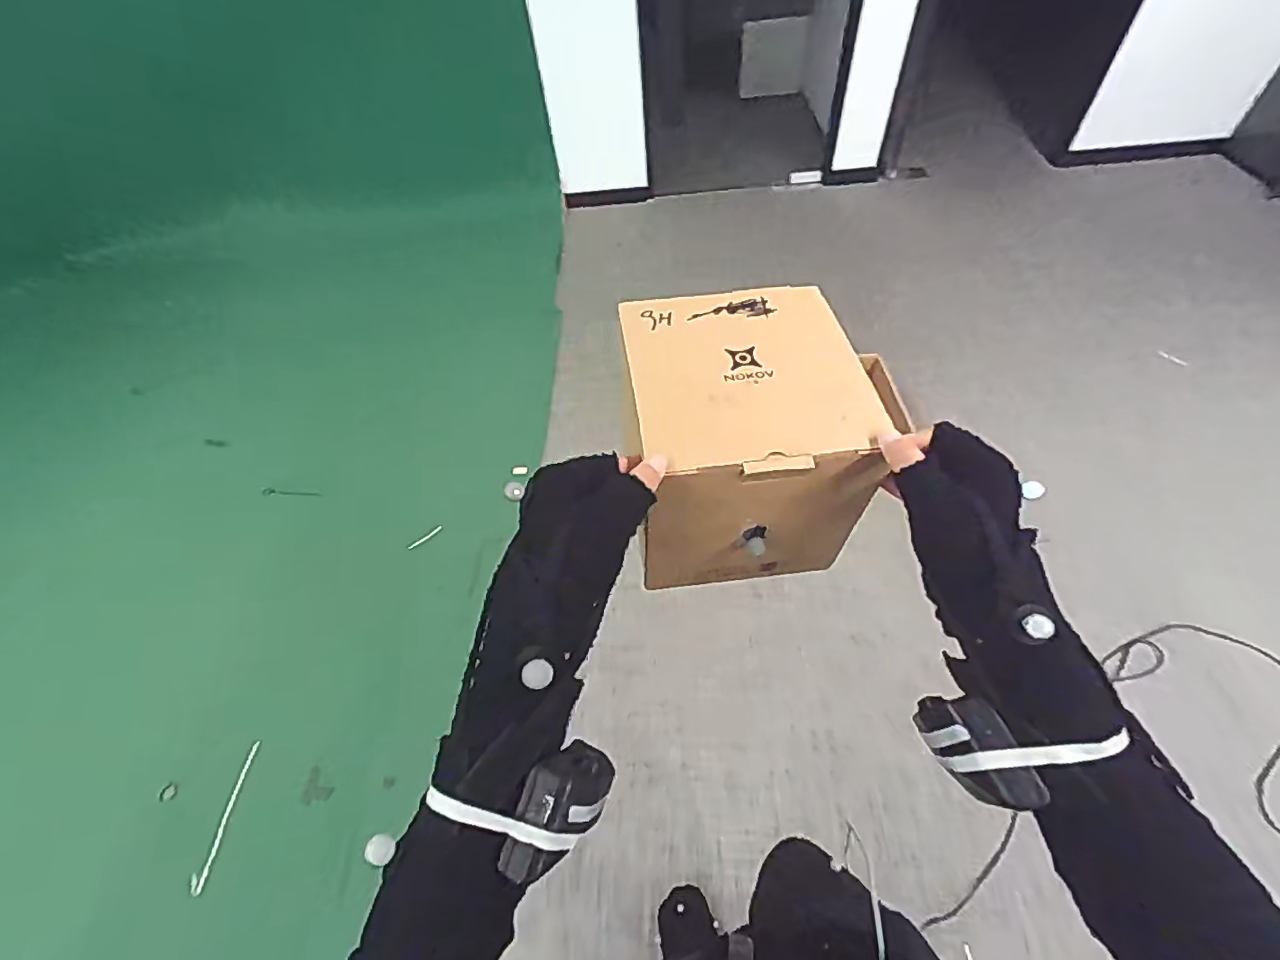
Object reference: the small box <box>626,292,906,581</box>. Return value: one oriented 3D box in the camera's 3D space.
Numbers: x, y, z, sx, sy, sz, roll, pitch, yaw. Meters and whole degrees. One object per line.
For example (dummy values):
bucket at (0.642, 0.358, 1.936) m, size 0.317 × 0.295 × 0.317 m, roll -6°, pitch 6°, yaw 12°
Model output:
small box at (0.079, -0.027, 0.446) m, size 0.168 × 0.176 × 0.179 m, roll -5°, pitch 55°, yaw -4°
